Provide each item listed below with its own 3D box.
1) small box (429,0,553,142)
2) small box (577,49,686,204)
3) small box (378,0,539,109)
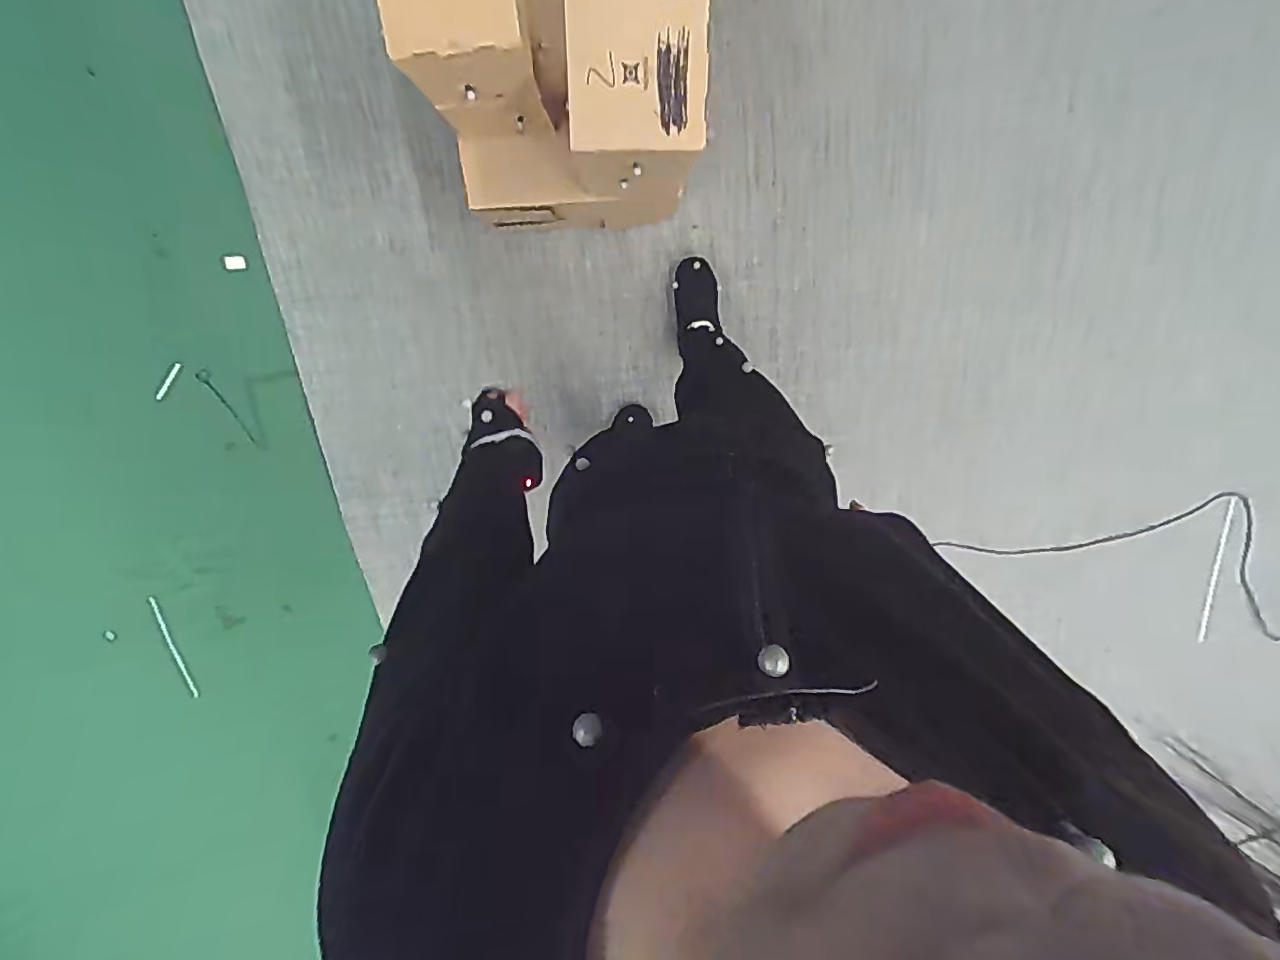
[{"bbox_3d":[-0.239,-0.666,0.871,0.168,0.176,0.179,-3,106,1],"label":"small box"},{"bbox_3d":[-0.014,-0.573,0.897,0.168,0.176,0.179,-2,106,0],"label":"small box"},{"bbox_3d":[-0.234,-0.622,0.713,0.168,0.176,0.179,-3,108,1],"label":"small box"}]
